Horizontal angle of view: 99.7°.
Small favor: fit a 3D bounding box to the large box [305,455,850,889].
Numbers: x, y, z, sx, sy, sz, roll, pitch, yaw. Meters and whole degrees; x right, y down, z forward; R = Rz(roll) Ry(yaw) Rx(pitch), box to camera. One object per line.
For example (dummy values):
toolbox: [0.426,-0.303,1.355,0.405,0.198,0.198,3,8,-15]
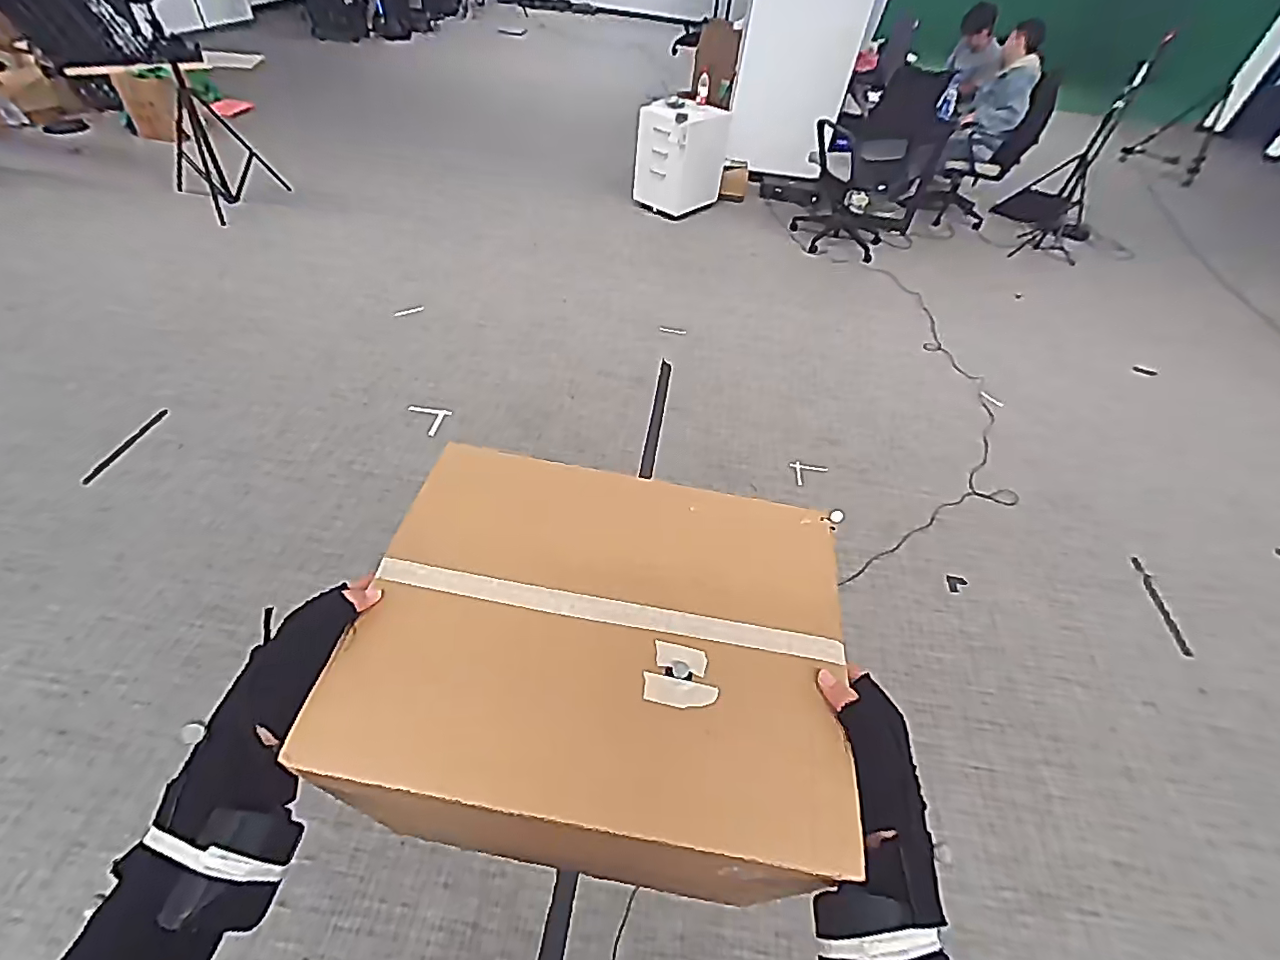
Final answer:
large box: [-0.042,0.214,0.590,0.408,0.320,0.320,11,50,1]
